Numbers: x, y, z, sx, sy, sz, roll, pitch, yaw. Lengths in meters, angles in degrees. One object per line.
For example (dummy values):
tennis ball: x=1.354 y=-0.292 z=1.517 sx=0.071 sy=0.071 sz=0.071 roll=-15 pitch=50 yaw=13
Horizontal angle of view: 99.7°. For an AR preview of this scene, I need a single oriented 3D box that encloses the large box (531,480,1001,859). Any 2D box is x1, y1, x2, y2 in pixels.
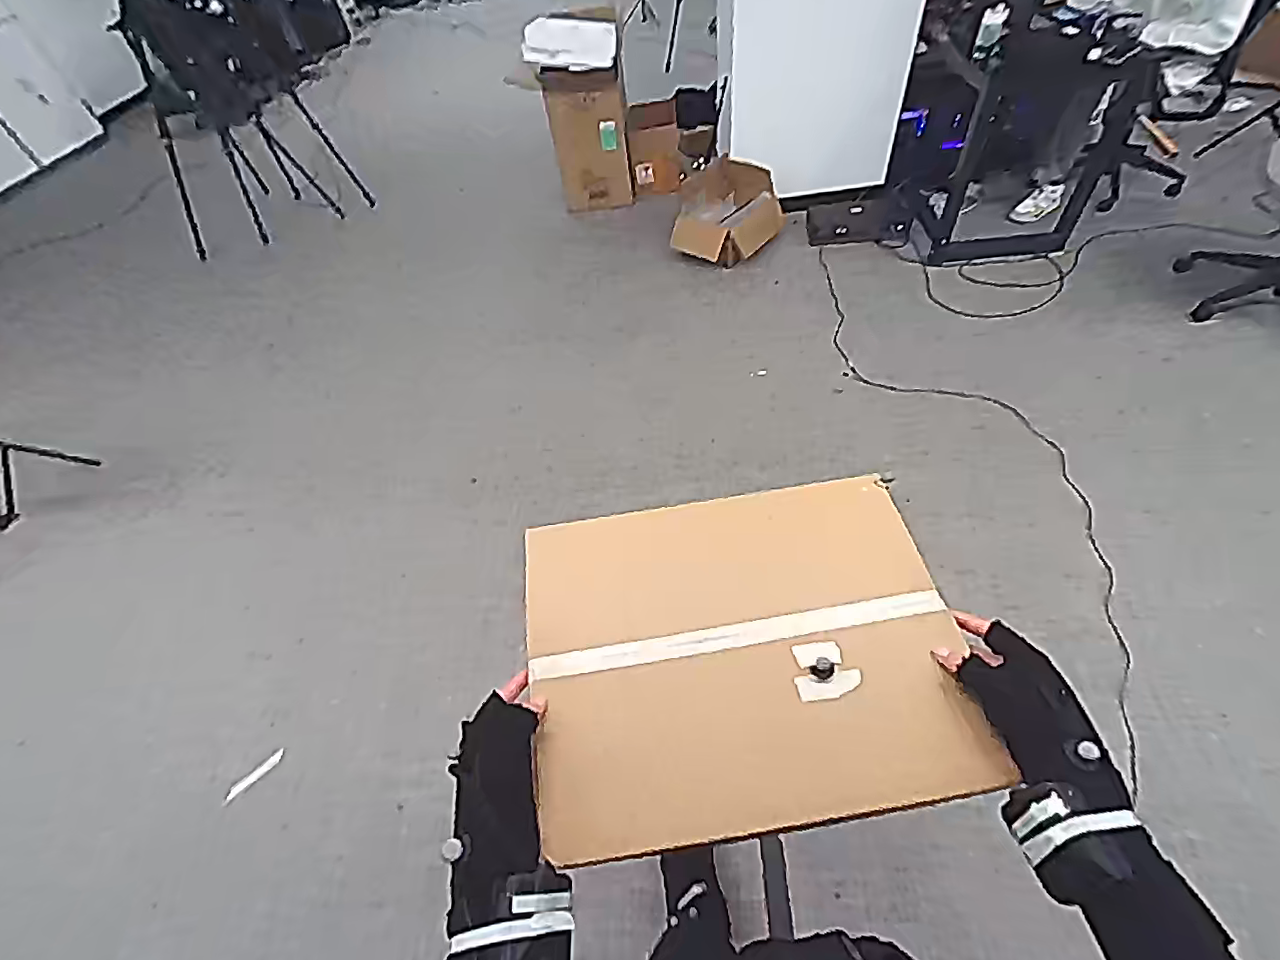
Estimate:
large box: x=0.101 y=0.239 z=0.658 sx=0.408 sy=0.320 sz=0.320 roll=-9 pitch=55 yaw=-1
